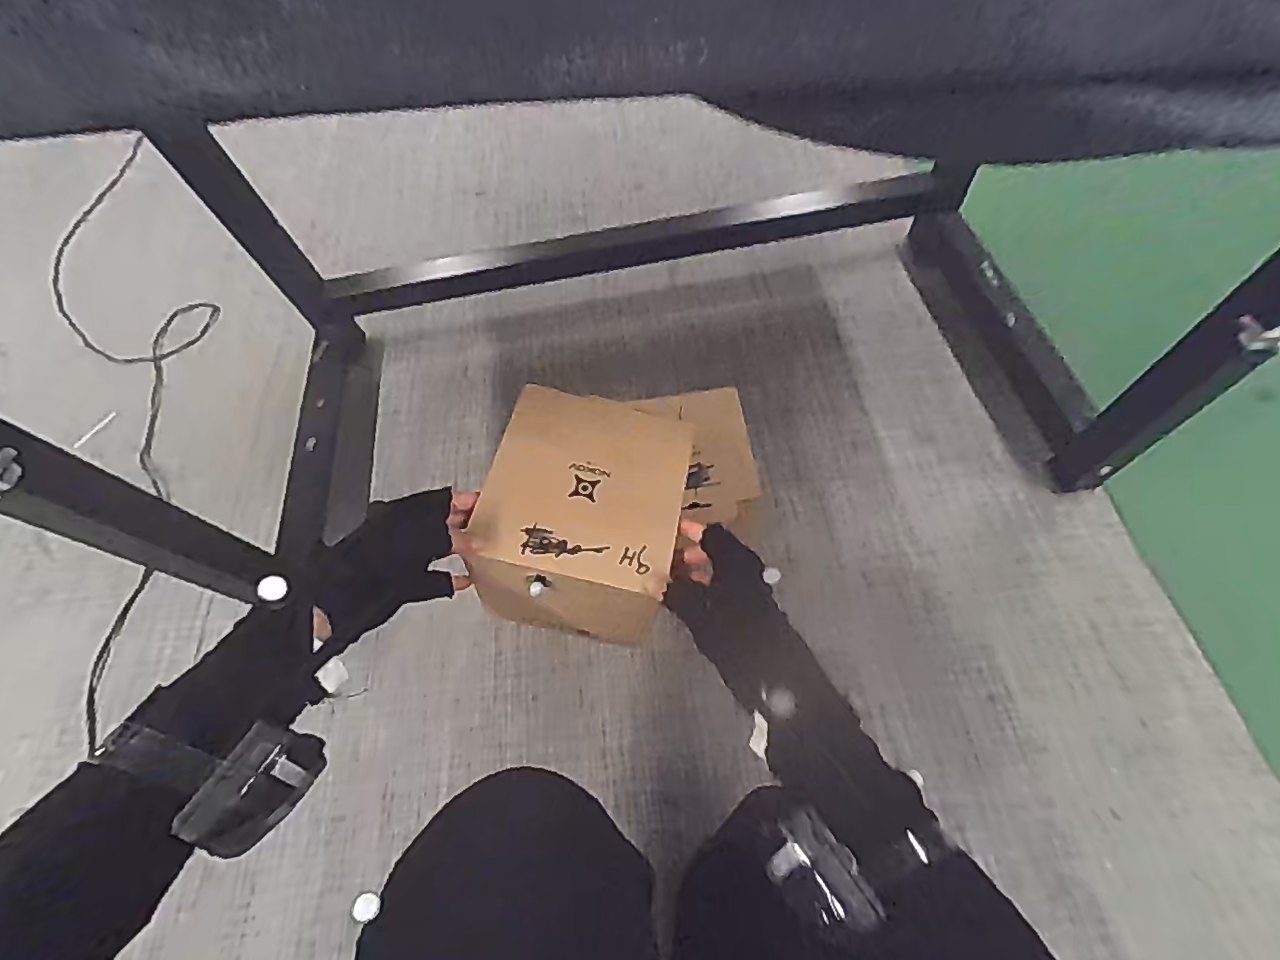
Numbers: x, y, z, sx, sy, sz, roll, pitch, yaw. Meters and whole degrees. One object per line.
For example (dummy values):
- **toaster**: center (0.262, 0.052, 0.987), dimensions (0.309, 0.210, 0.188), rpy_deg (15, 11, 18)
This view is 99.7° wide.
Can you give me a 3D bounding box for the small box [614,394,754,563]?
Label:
- **small box**: center (0.061, 0.007, 0.762), dimensions (0.168, 0.176, 0.179), rpy_deg (-8, 60, 3)
